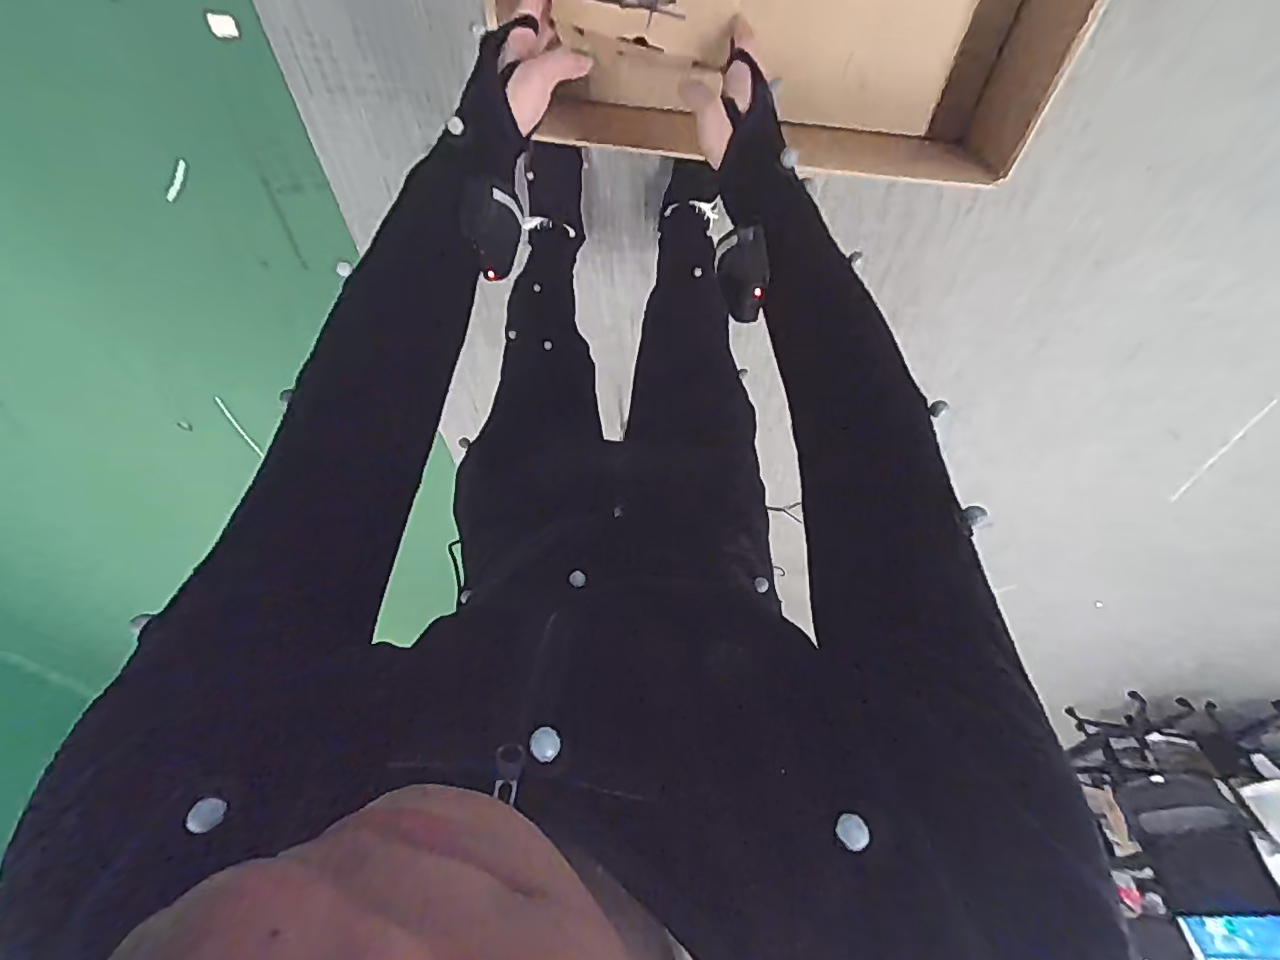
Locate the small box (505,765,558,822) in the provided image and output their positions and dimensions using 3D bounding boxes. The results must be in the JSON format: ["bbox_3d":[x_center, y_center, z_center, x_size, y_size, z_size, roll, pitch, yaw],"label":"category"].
[{"bbox_3d":[-0.415,1.214,2.092,0.168,0.176,0.179,0,142,0],"label":"small box"}]

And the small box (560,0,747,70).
[{"bbox_3d":[0.021,-0.519,0.515,0.168,0.176,0.179,8,122,-10],"label":"small box"}]
